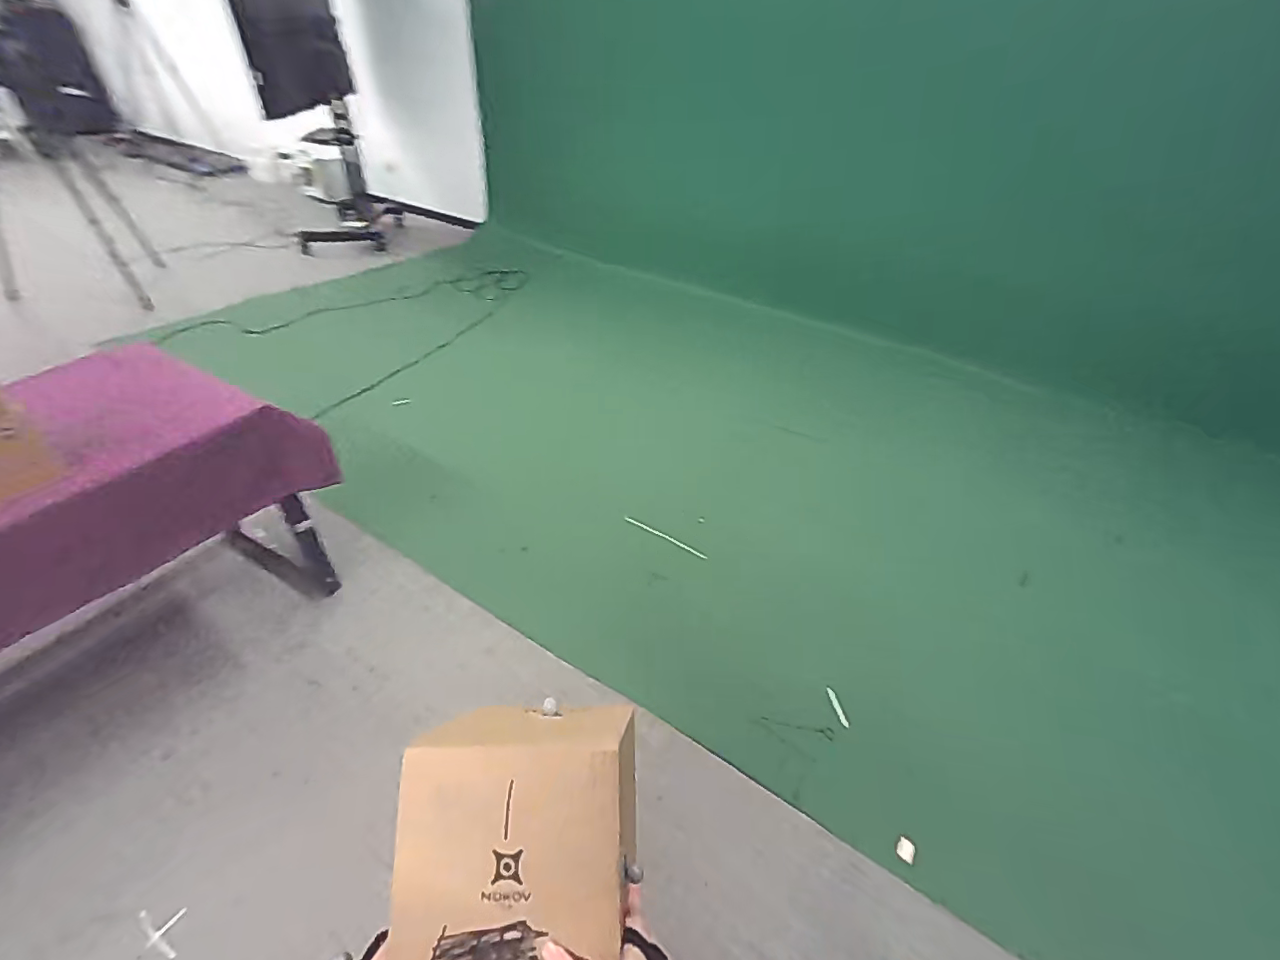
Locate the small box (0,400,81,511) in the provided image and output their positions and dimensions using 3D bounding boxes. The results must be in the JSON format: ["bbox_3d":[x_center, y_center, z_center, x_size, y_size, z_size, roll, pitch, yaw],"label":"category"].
[{"bbox_3d":[-1.304,-0.052,1.087,0.168,0.176,0.179,24,43,23],"label":"small box"}]

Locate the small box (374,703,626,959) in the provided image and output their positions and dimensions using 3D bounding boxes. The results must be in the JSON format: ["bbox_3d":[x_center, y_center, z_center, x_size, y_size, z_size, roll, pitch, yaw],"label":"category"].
[{"bbox_3d":[-0.101,0.300,0.464,0.168,0.176,0.179,-2,76,3],"label":"small box"}]
